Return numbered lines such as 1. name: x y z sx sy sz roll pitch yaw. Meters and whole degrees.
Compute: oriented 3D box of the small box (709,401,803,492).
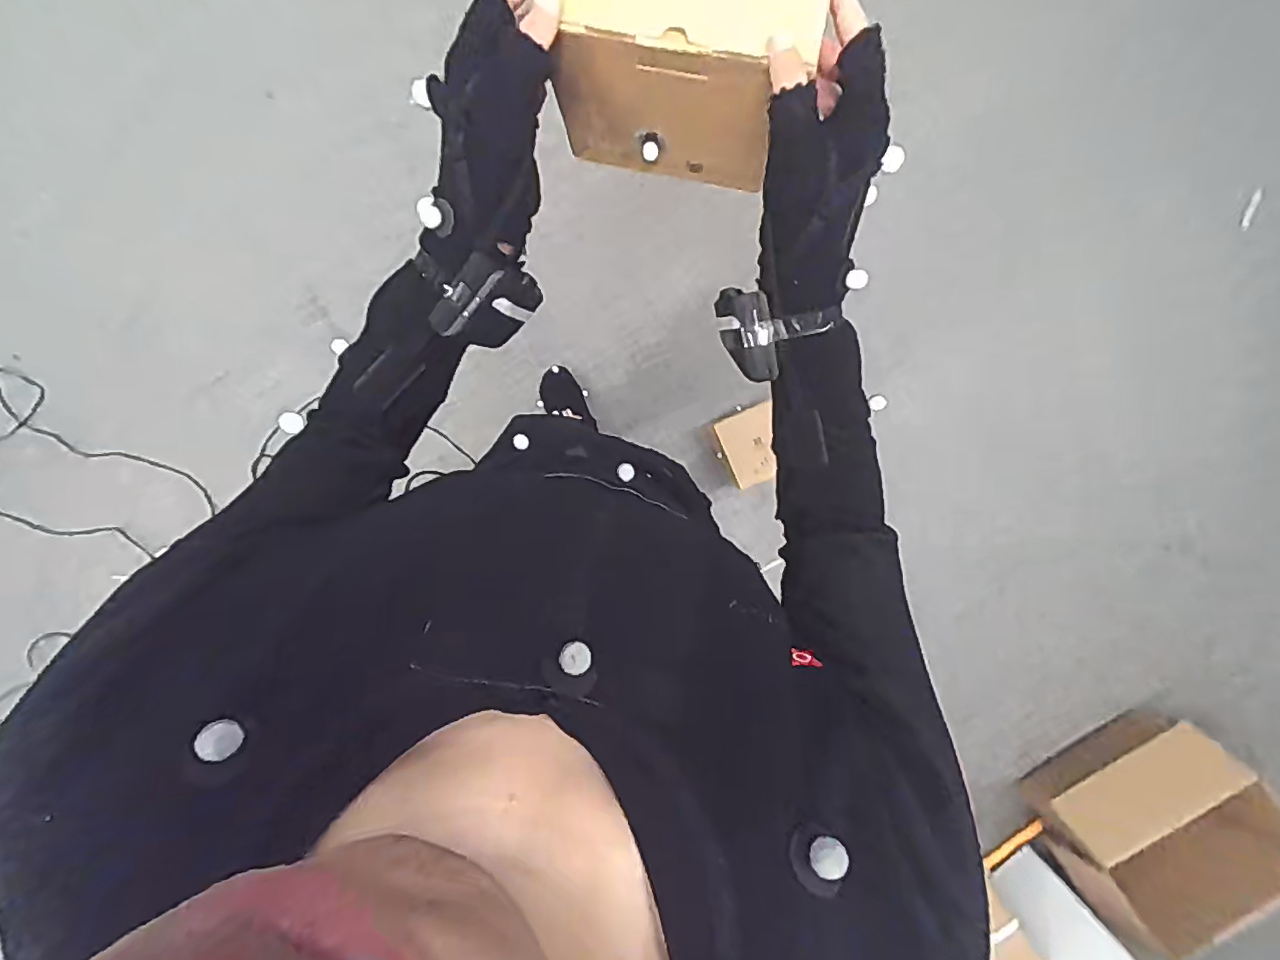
1. small box: 0.287 -0.085 1.379 0.168 0.176 0.179 -24 94 3
